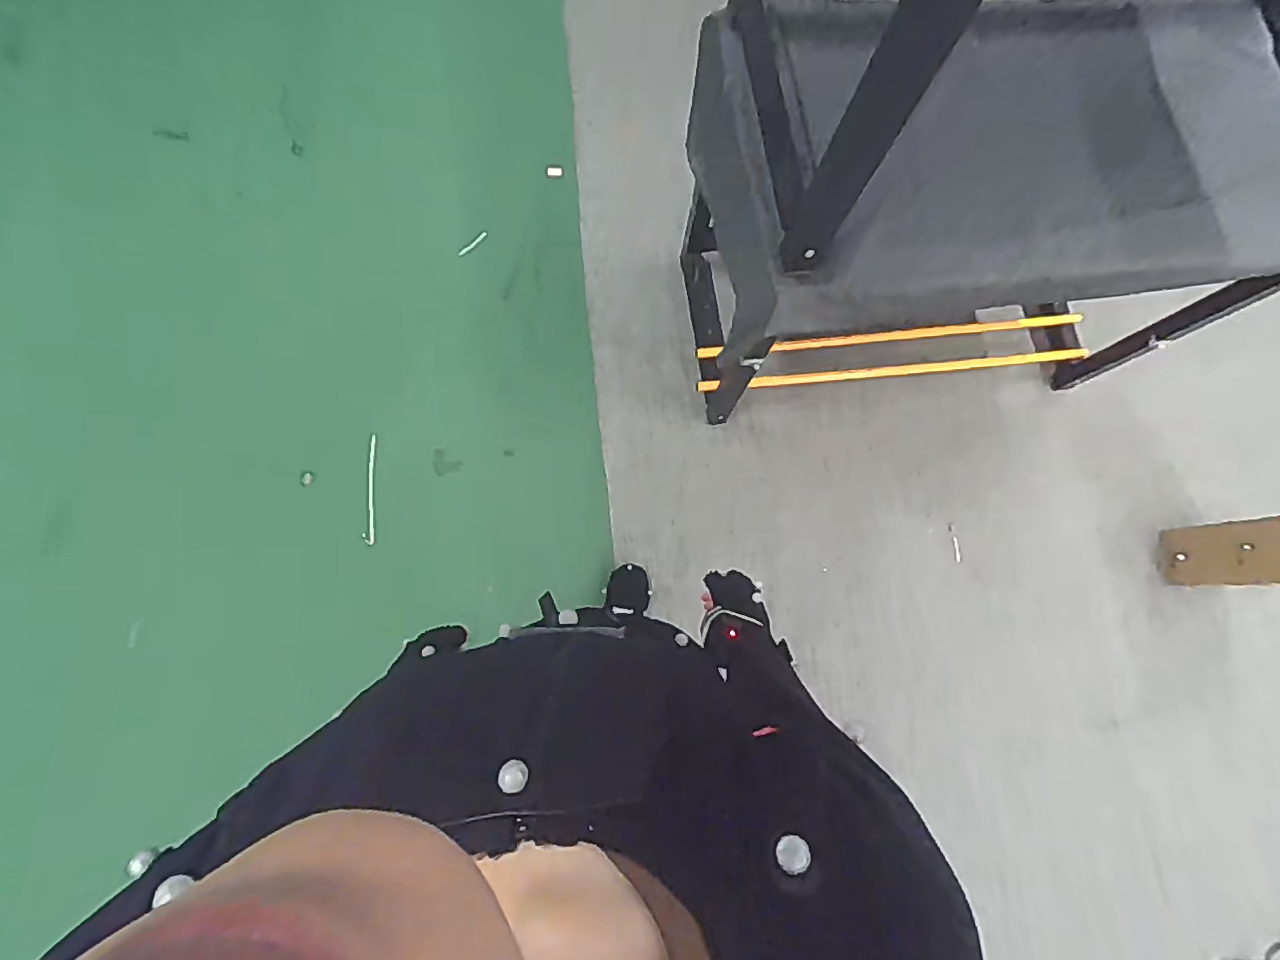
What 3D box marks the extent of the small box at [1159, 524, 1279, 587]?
[{"bbox_3d":[1.637,0.215,1.522,0.179,0.176,0.168,0,76,-3],"label":"small box"}]
